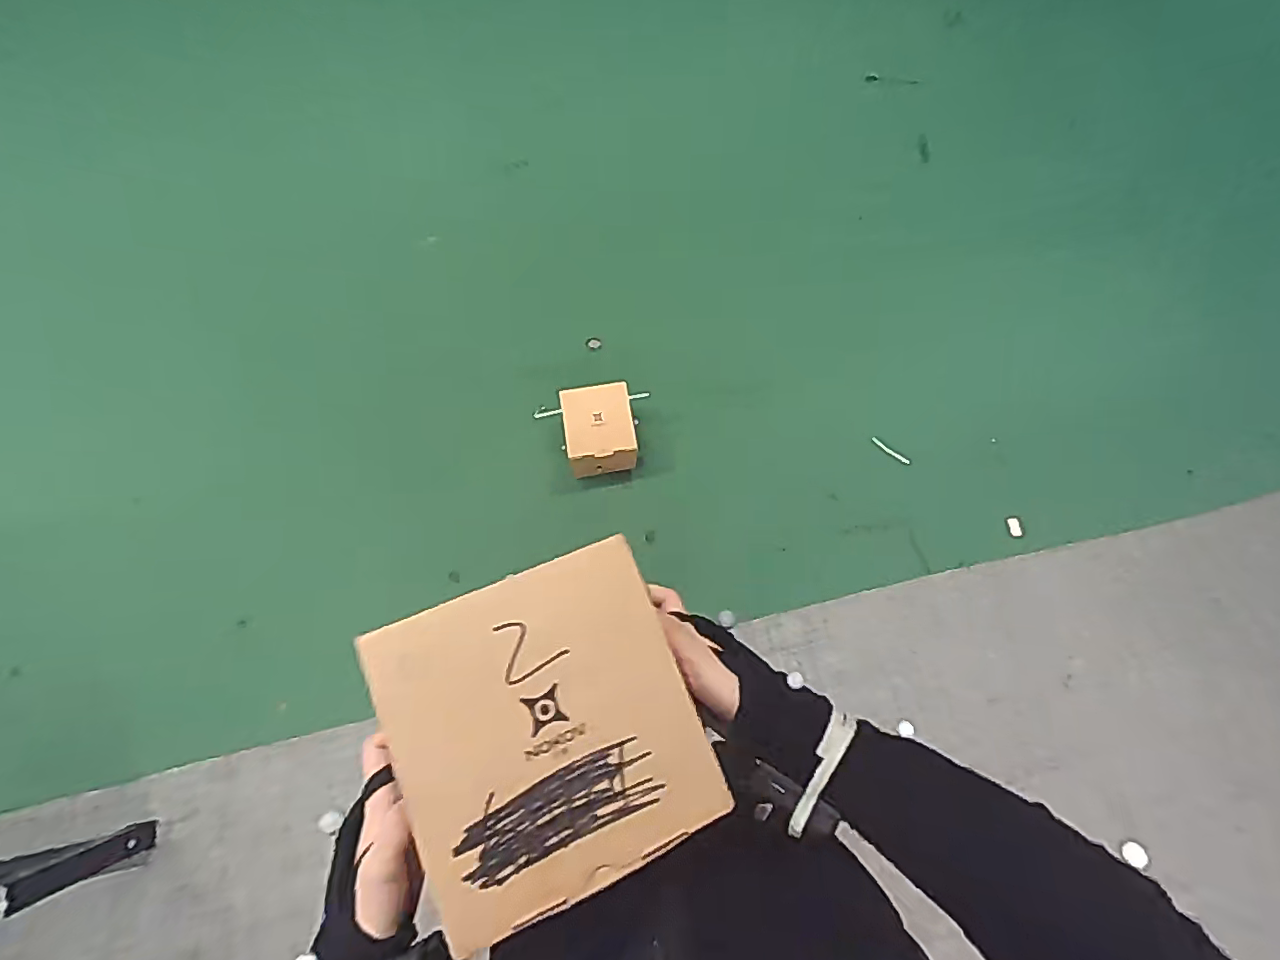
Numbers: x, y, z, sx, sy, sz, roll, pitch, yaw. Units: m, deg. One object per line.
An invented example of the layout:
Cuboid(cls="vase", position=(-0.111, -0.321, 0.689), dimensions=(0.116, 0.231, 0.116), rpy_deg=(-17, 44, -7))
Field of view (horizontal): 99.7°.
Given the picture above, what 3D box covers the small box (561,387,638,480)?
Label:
Cuboid(cls="small box", position=(-0.104, -0.114, 1.365), dimensions=(0.168, 0.176, 0.179), rpy_deg=(-9, 76, -5))
